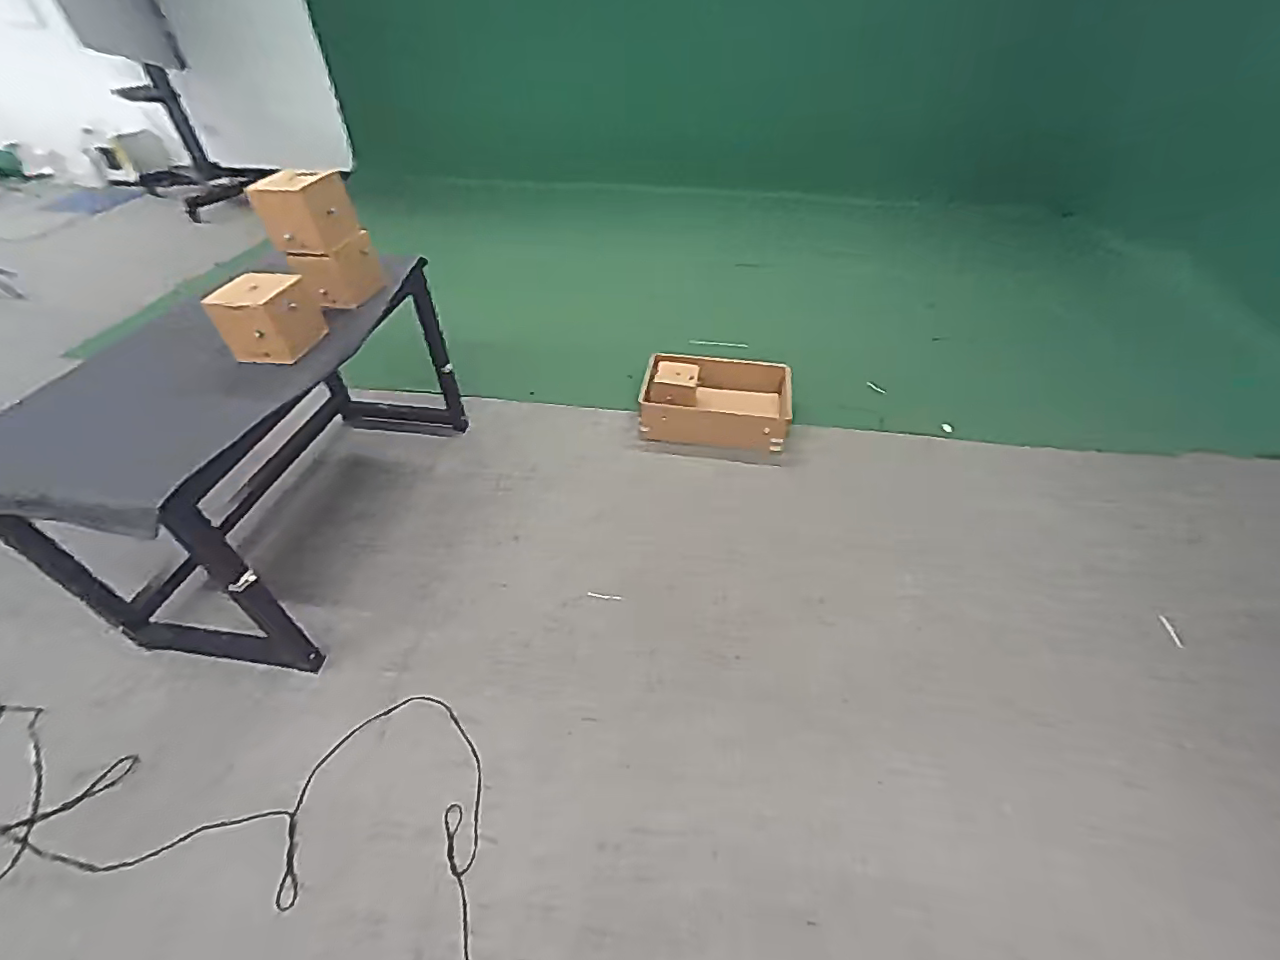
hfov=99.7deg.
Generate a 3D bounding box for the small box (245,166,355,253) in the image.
[{"bbox_3d":[-0.929,-0.752,1.502,0.168,0.176,0.179,8,46,9],"label":"small box"}]

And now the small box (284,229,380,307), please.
[{"bbox_3d":[-0.912,-0.642,1.624,0.168,0.176,0.179,8,46,10],"label":"small box"}]

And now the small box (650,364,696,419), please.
[{"bbox_3d":[0.144,-0.385,2.357,0.179,0.176,0.168,8,45,8],"label":"small box"}]

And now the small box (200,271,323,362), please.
[{"bbox_3d":[-0.966,-0.423,1.403,0.168,0.176,0.179,6,43,6],"label":"small box"}]
